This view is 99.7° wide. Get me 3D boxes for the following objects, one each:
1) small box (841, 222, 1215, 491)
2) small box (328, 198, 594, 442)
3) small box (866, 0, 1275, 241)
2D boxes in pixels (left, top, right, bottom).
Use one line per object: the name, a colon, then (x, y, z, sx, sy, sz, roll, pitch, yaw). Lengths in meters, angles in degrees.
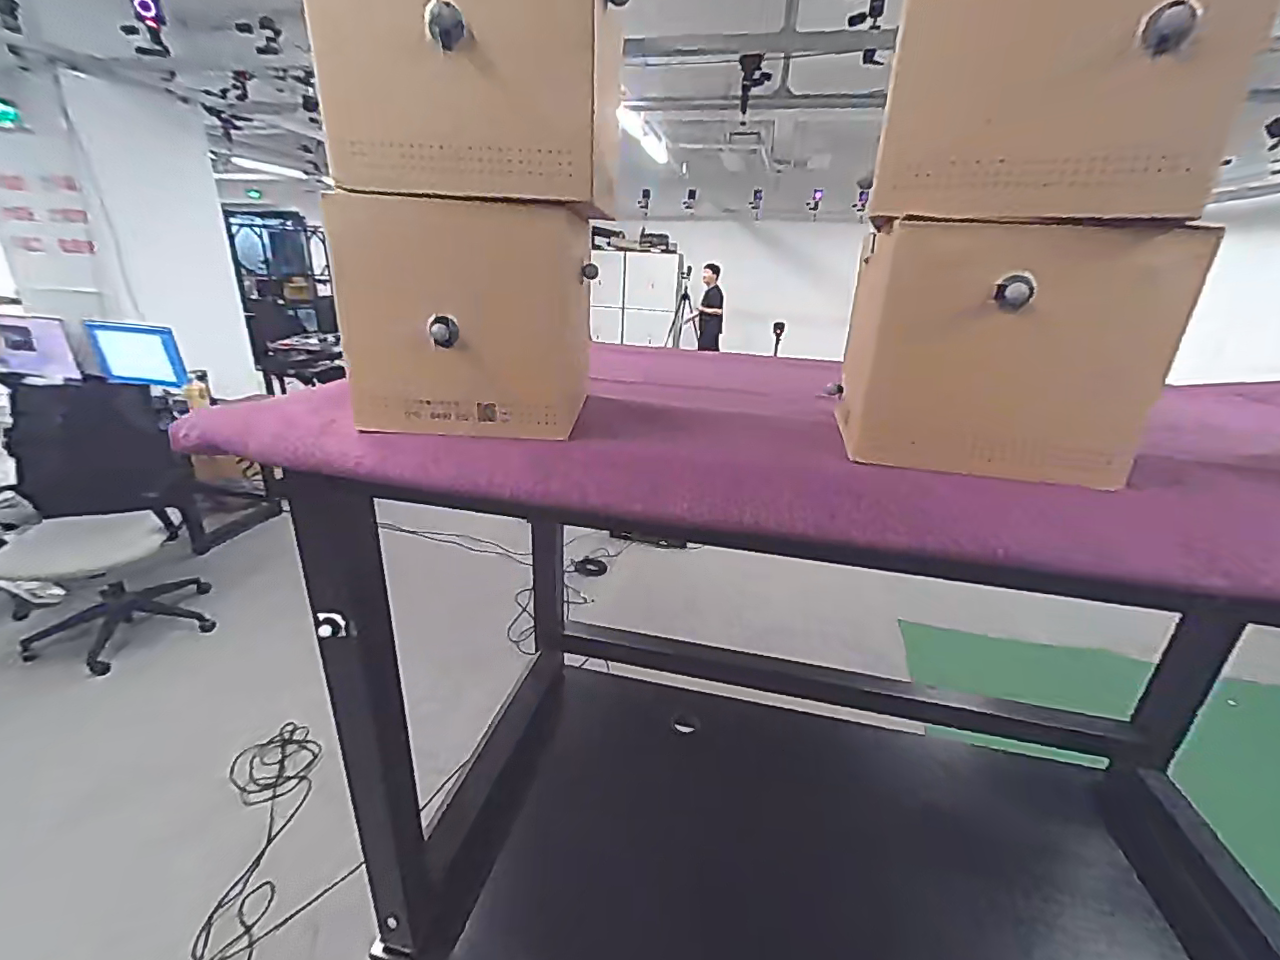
small box: (0.264, -0.100, 0.427, 0.179, 0.176, 0.168, 8, 22, 12)
small box: (-0.130, -0.137, 0.467, 0.168, 0.176, 0.179, 4, 21, -1)
small box: (0.266, -0.252, 0.369, 0.179, 0.176, 0.168, 10, 21, 22)
